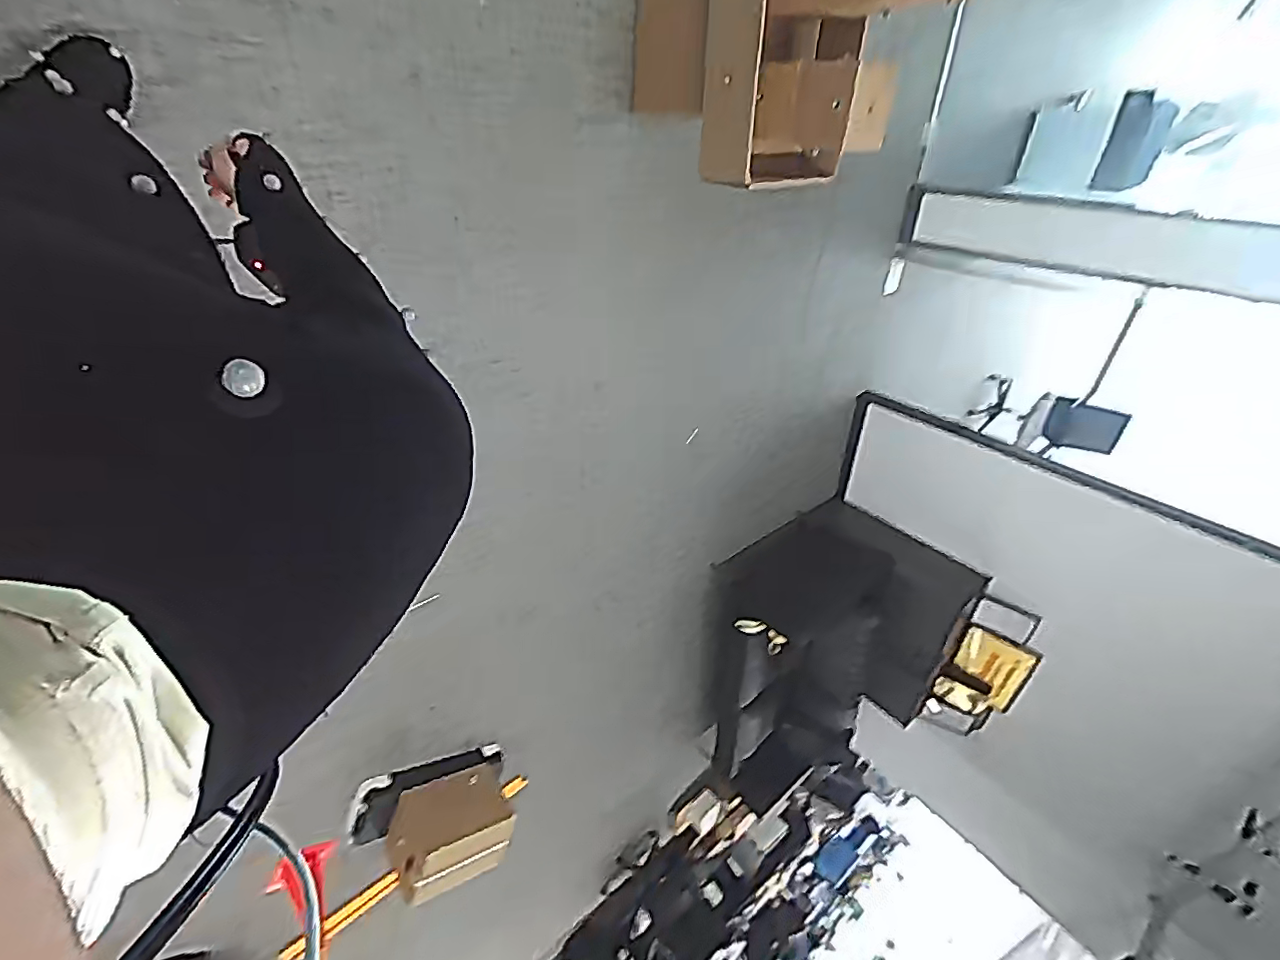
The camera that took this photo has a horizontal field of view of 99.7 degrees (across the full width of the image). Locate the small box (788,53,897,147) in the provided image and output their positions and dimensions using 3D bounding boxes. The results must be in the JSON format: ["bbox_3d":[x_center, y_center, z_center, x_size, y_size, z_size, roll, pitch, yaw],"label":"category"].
[{"bbox_3d":[0.486,-0.923,1.321,0.168,0.176,0.179,-22,132,-32],"label":"small box"}]

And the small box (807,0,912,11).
[{"bbox_3d":[0.492,-1.136,1.170,0.179,0.176,0.168,-25,132,-32],"label":"small box"}]
